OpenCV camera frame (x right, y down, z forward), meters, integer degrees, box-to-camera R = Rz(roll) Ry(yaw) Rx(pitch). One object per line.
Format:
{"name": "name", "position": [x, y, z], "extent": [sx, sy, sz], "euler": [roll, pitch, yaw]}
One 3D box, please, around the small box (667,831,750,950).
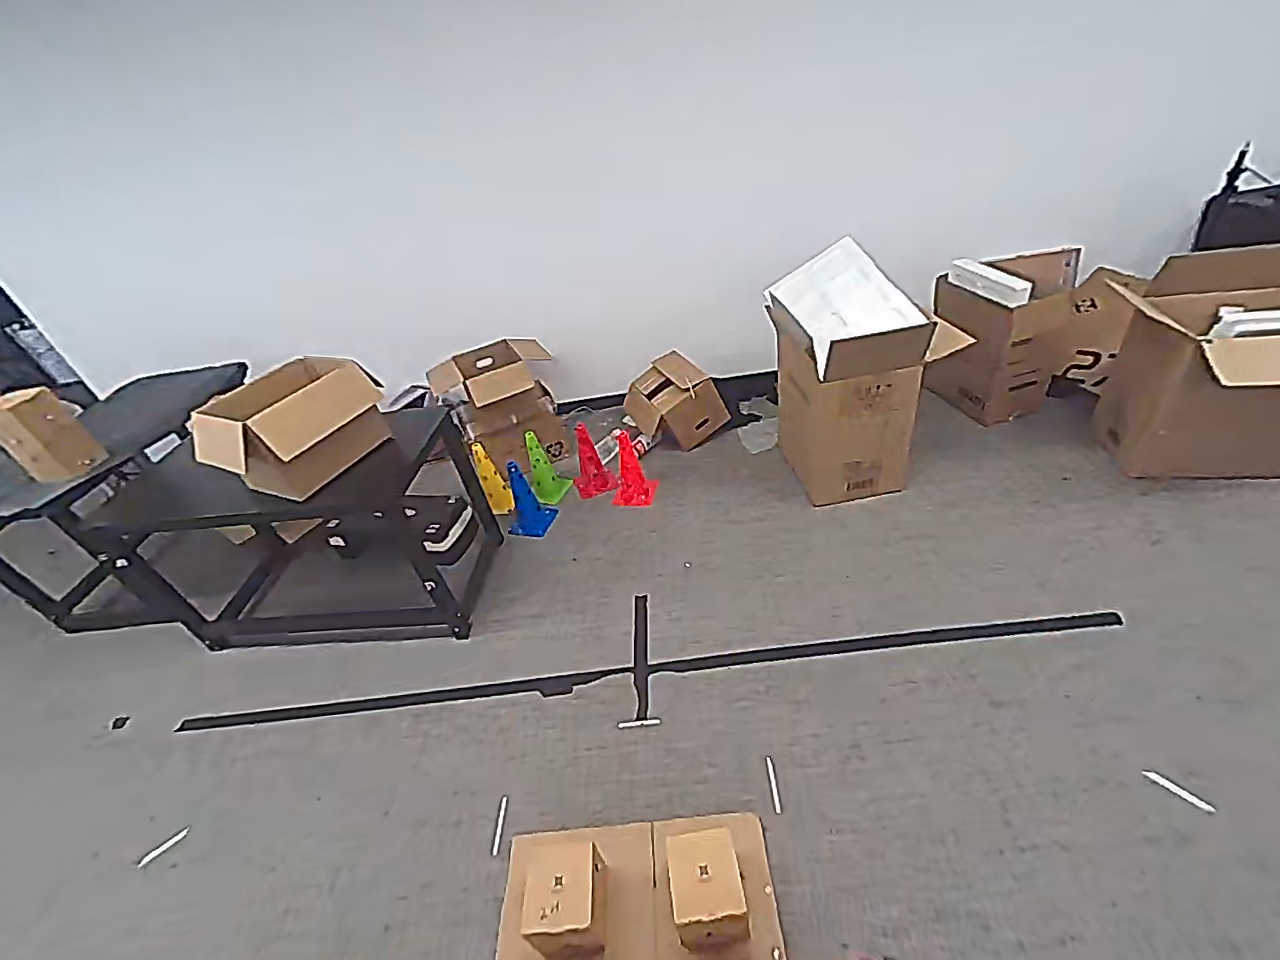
{"name": "small box", "position": [0.162, 0.984, 1.298], "extent": [0.168, 0.176, 0.179], "euler": [-11, 36, 1]}

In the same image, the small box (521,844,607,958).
{"name": "small box", "position": [-0.178, 1.028, 1.321], "extent": [0.168, 0.176, 0.179], "euler": [-9, 37, 4]}
